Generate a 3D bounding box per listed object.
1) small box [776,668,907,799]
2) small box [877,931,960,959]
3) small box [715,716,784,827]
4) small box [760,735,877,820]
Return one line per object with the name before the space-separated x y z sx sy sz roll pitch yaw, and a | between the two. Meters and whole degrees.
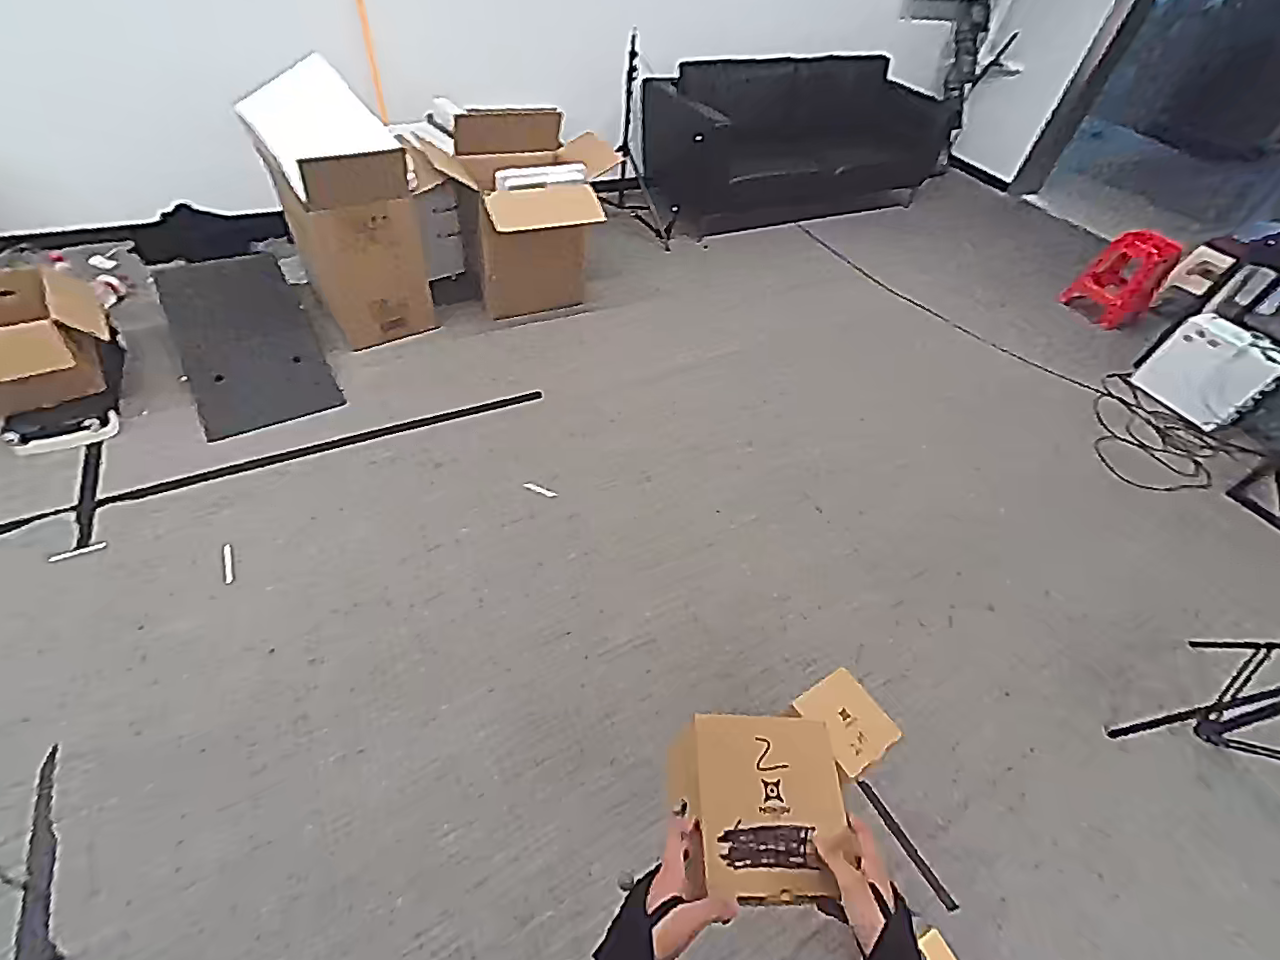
small box | 0.425 0.551 1.174 0.168 0.176 0.179 -21 54 -26
small box | 0.605 1.107 1.146 0.168 0.176 0.179 -18 54 -22
small box | 0.320 0.762 1.412 0.179 0.176 0.168 -29 57 -29
small box | 0.414 0.672 1.286 0.179 0.176 0.168 -15 51 -21
